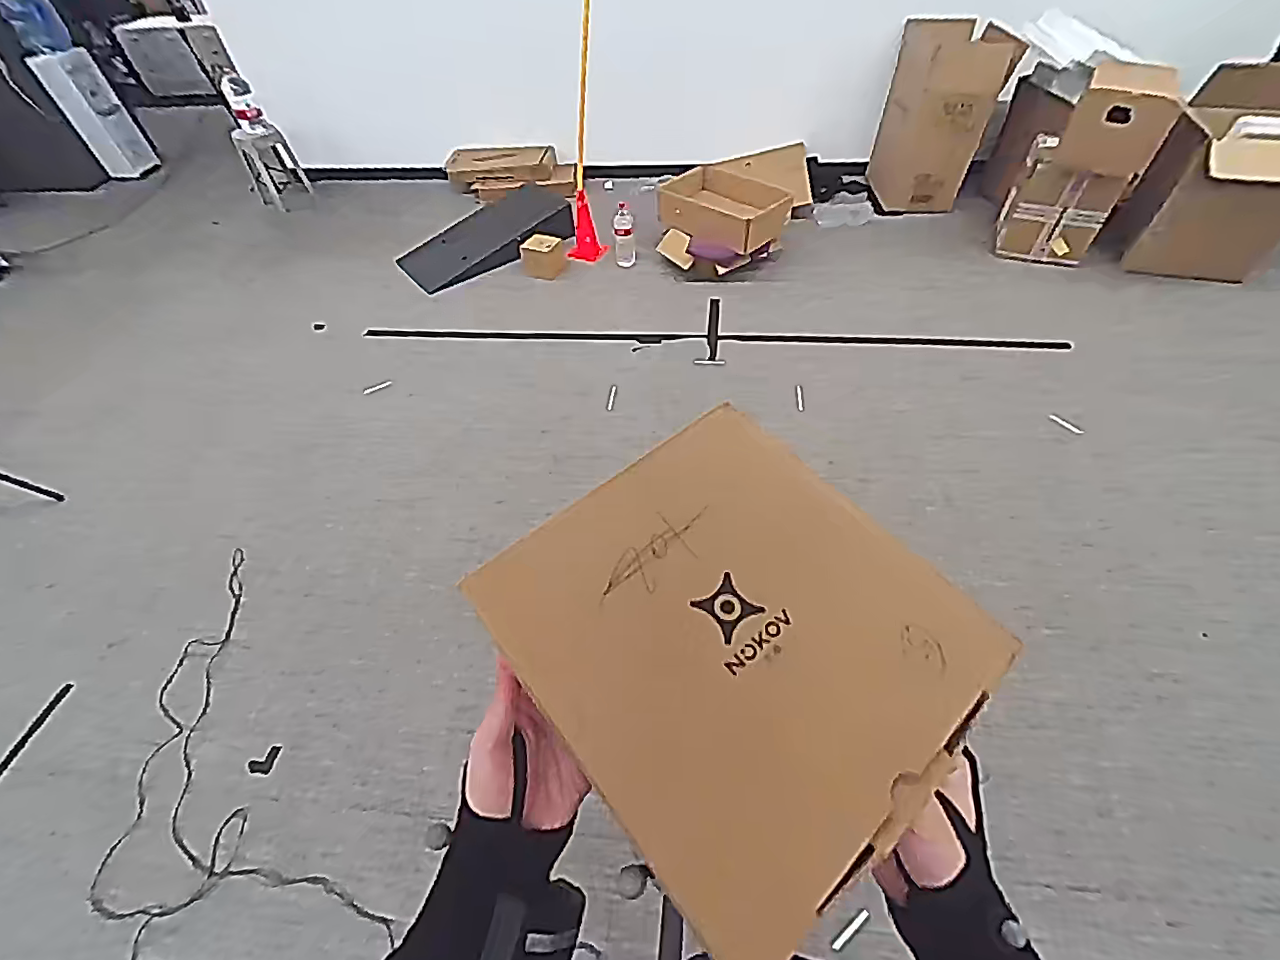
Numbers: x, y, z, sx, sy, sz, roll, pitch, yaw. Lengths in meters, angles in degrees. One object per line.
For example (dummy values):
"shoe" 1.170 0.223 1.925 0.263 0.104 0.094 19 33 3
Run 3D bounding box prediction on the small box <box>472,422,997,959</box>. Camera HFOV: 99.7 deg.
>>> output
"small box" 0.038 0.108 0.305 0.168 0.176 0.179 -35 62 -23
